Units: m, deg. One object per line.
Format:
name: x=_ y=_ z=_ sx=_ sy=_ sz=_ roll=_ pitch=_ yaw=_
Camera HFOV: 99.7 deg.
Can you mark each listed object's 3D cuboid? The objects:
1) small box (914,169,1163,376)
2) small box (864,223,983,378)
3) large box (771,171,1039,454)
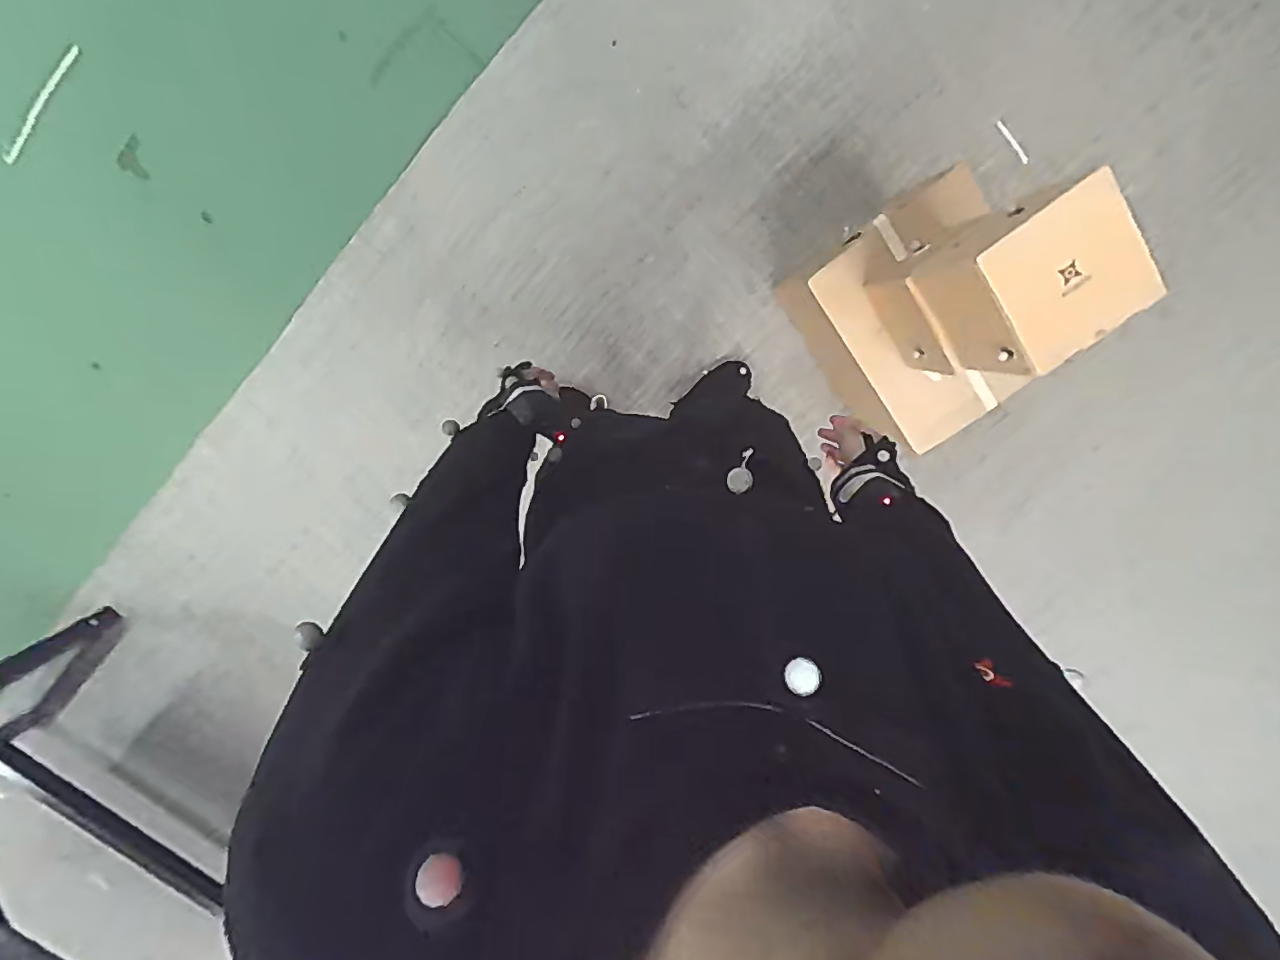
small box: x=0.503 y=-0.257 z=0.711 sx=0.168 sy=0.176 sz=0.179 roll=-36 pitch=102 yaw=9
small box: x=0.499 y=-0.287 z=0.871 sx=0.168 sy=0.176 sz=0.179 roll=-36 pitch=101 yaw=9
large box: x=0.534 y=-0.326 z=1.111 sx=0.320 sy=0.320 sz=0.408 roll=-36 pitch=103 yaw=12
